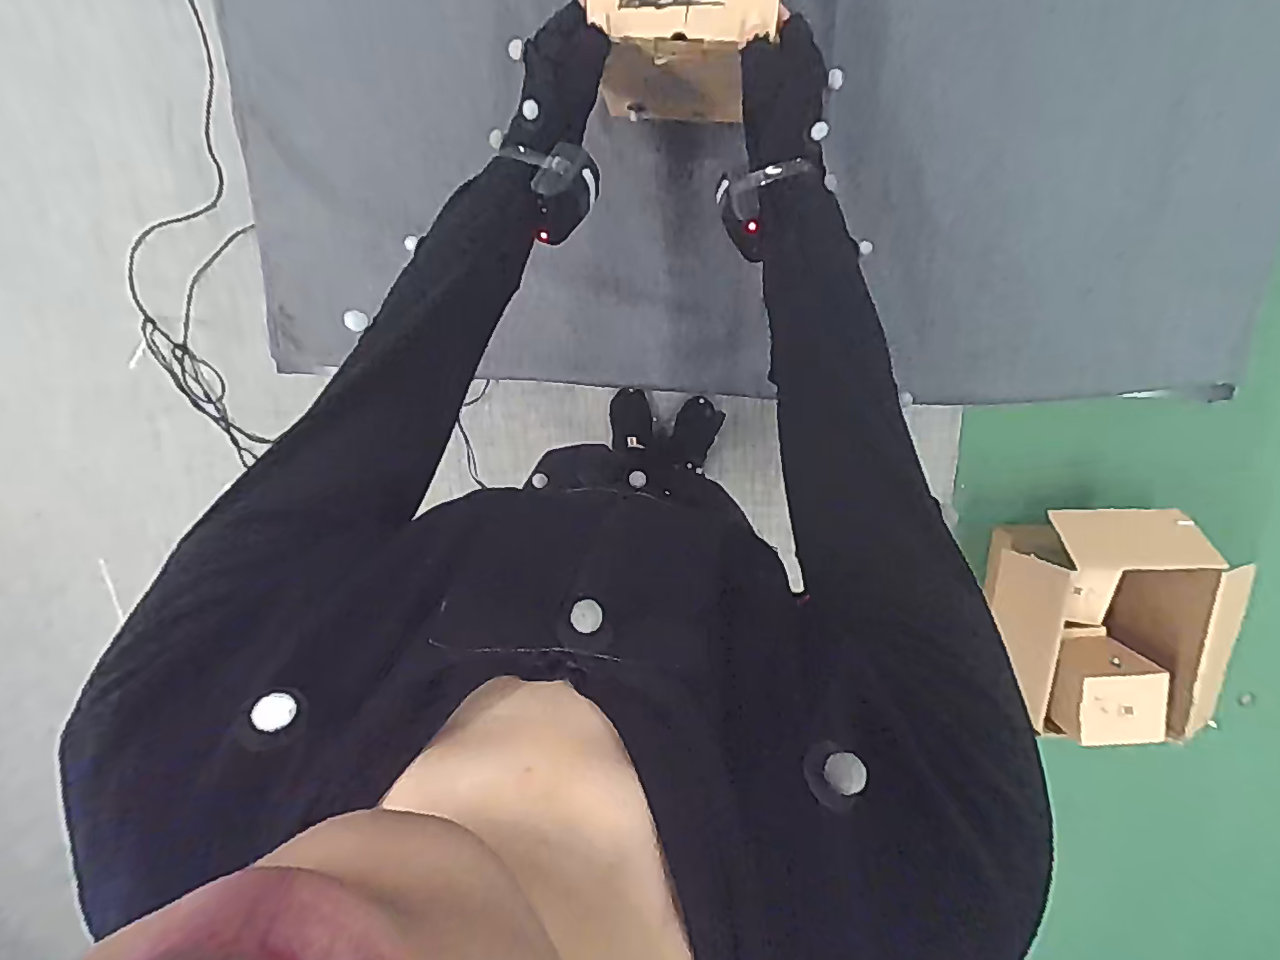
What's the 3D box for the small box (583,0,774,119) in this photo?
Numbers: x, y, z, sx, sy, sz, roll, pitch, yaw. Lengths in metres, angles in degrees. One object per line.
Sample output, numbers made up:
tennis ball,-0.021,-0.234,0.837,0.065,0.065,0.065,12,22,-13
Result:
small box,0.045,-0.479,0.524,0.168,0.176,0.179,5,104,3
